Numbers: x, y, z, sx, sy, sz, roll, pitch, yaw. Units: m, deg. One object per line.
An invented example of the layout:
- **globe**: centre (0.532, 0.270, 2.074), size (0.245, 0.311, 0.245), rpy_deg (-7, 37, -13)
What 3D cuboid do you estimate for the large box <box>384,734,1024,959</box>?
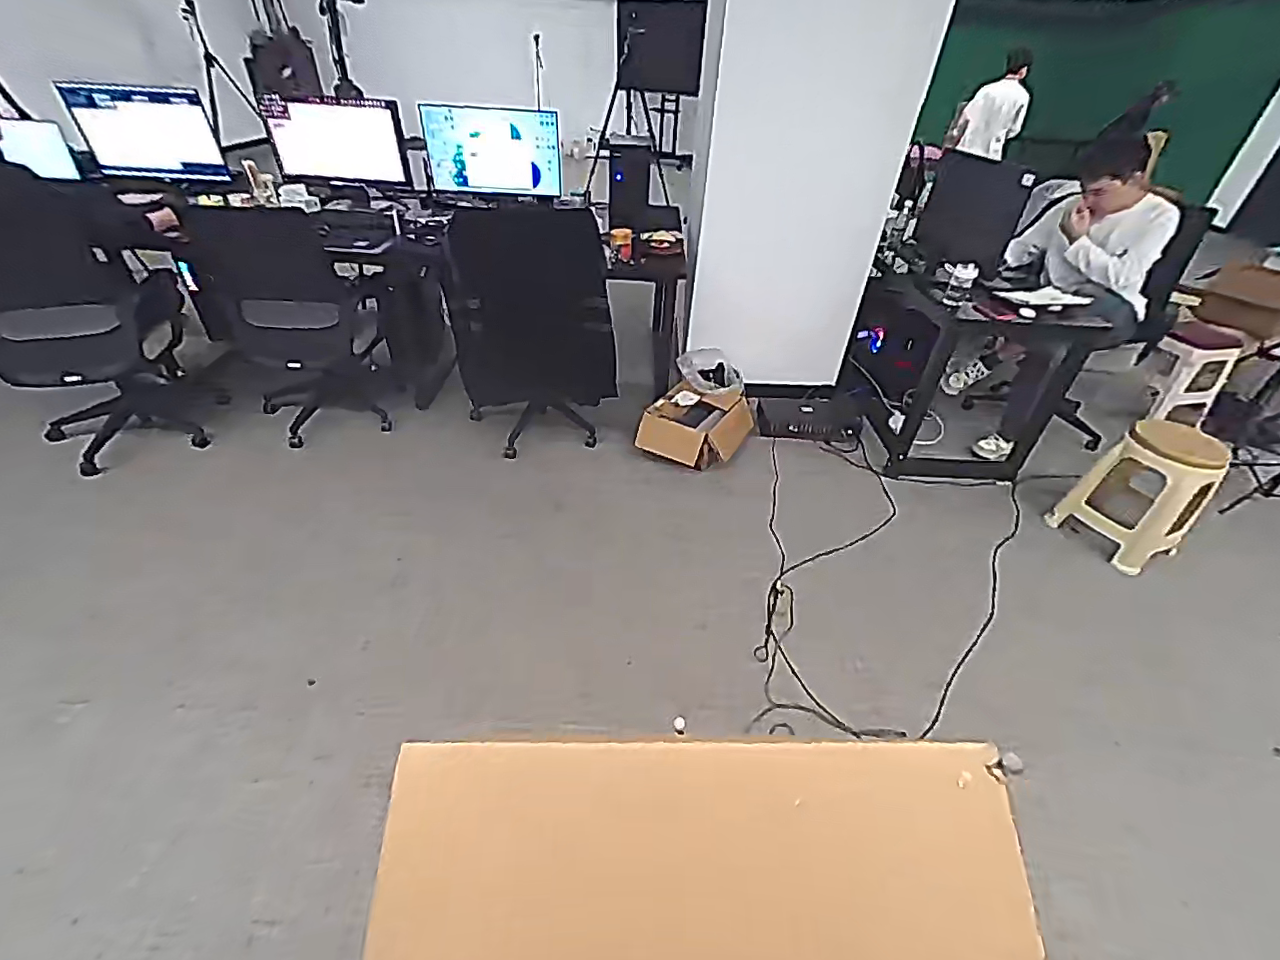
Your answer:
- **large box**: centre (0.036, 0.390, 0.456), size (0.408, 0.320, 0.320), rpy_deg (0, 67, -2)
